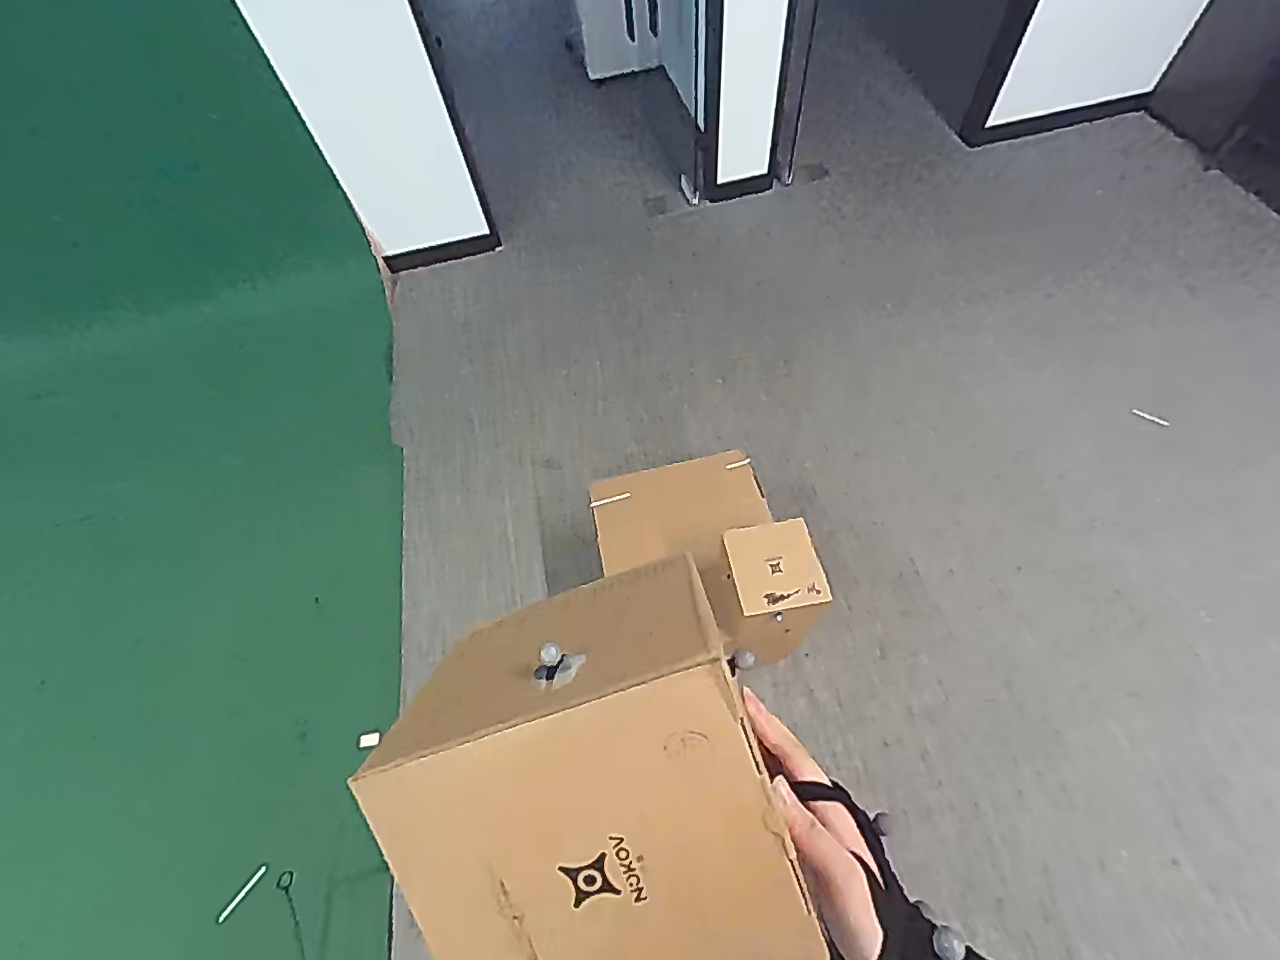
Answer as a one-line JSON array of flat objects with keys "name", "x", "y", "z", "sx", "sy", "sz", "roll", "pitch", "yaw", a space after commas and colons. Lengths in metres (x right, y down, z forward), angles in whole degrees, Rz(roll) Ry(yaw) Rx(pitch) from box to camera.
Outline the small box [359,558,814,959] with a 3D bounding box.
[{"name": "small box", "x": -0.022, "y": 0.164, "z": 0.331, "sx": 0.179, "sy": 0.176, "sz": 0.168, "roll": -19, "pitch": 97, "yaw": 3}]

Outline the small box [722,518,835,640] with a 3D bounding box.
[{"name": "small box", "x": 0.263, "y": 0.200, "z": 1.077, "sx": 0.168, "sy": 0.176, "sz": 0.179, "roll": -10, "pitch": 57, "yaw": 0}]
